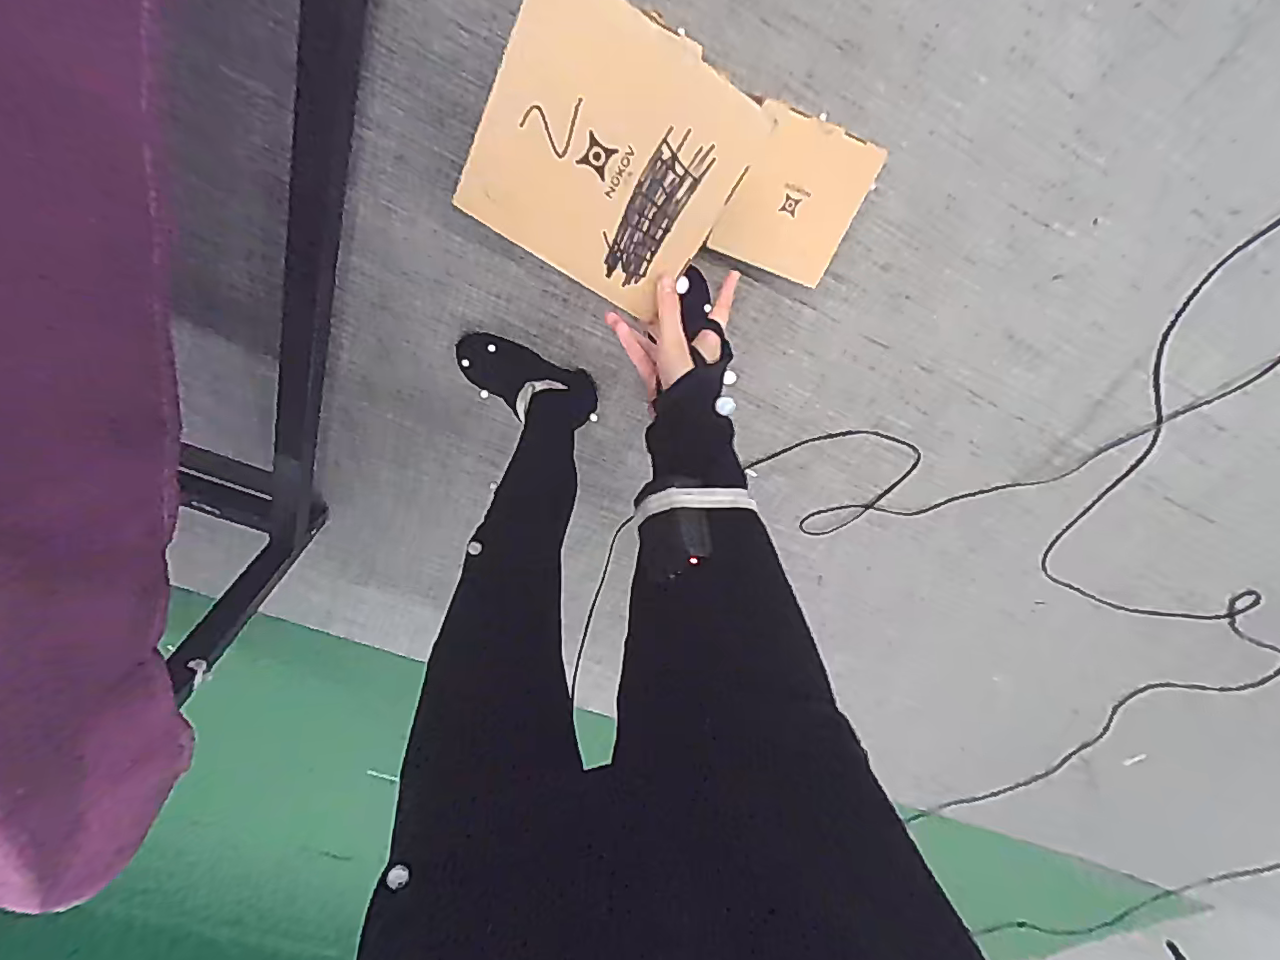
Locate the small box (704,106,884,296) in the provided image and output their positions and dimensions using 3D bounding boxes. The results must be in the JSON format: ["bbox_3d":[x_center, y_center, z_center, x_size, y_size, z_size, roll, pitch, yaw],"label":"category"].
[{"bbox_3d":[0.198,-0.389,0.752,0.168,0.176,0.179,18,124,-9],"label":"small box"}]

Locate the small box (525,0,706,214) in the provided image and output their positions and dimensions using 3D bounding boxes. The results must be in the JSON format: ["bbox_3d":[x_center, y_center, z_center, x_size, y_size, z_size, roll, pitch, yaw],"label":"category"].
[{"bbox_3d":[-0.031,-0.482,0.697,0.168,0.176,0.179,22,126,-12],"label":"small box"}]
